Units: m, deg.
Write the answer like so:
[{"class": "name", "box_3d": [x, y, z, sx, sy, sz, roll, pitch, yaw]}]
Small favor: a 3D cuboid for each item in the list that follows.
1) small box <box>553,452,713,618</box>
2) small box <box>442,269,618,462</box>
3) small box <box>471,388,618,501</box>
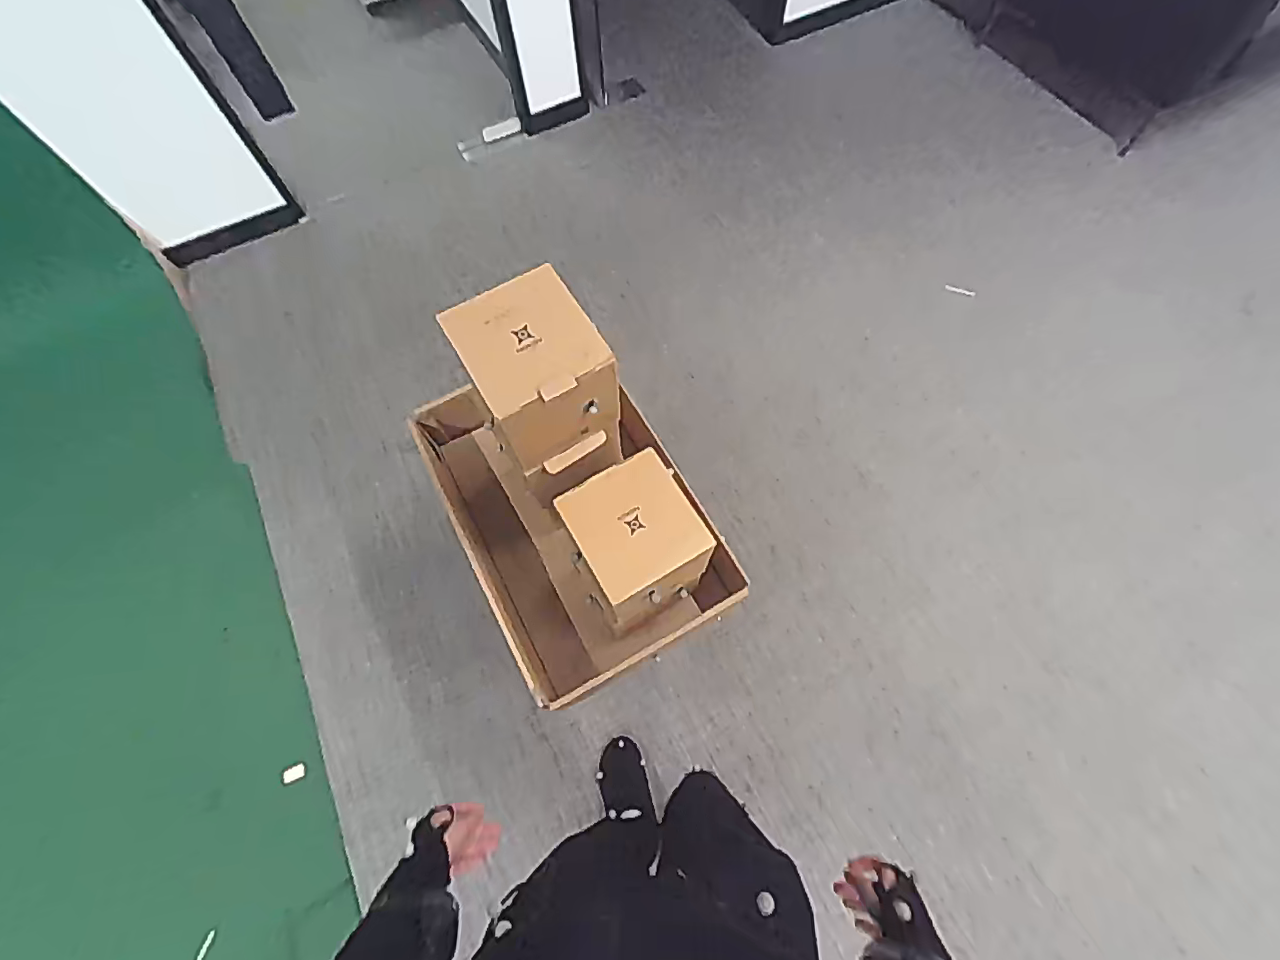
[{"class": "small box", "box_3d": [-0.008, 0.093, 0.818, 0.168, 0.176, 0.179, -29, 69, -11]}, {"class": "small box", "box_3d": [-0.139, -0.145, 0.747, 0.168, 0.176, 0.179, -29, 72, -12]}, {"class": "small box", "box_3d": [-0.146, -0.083, 0.897, 0.168, 0.176, 0.179, -32, 72, -12]}]
